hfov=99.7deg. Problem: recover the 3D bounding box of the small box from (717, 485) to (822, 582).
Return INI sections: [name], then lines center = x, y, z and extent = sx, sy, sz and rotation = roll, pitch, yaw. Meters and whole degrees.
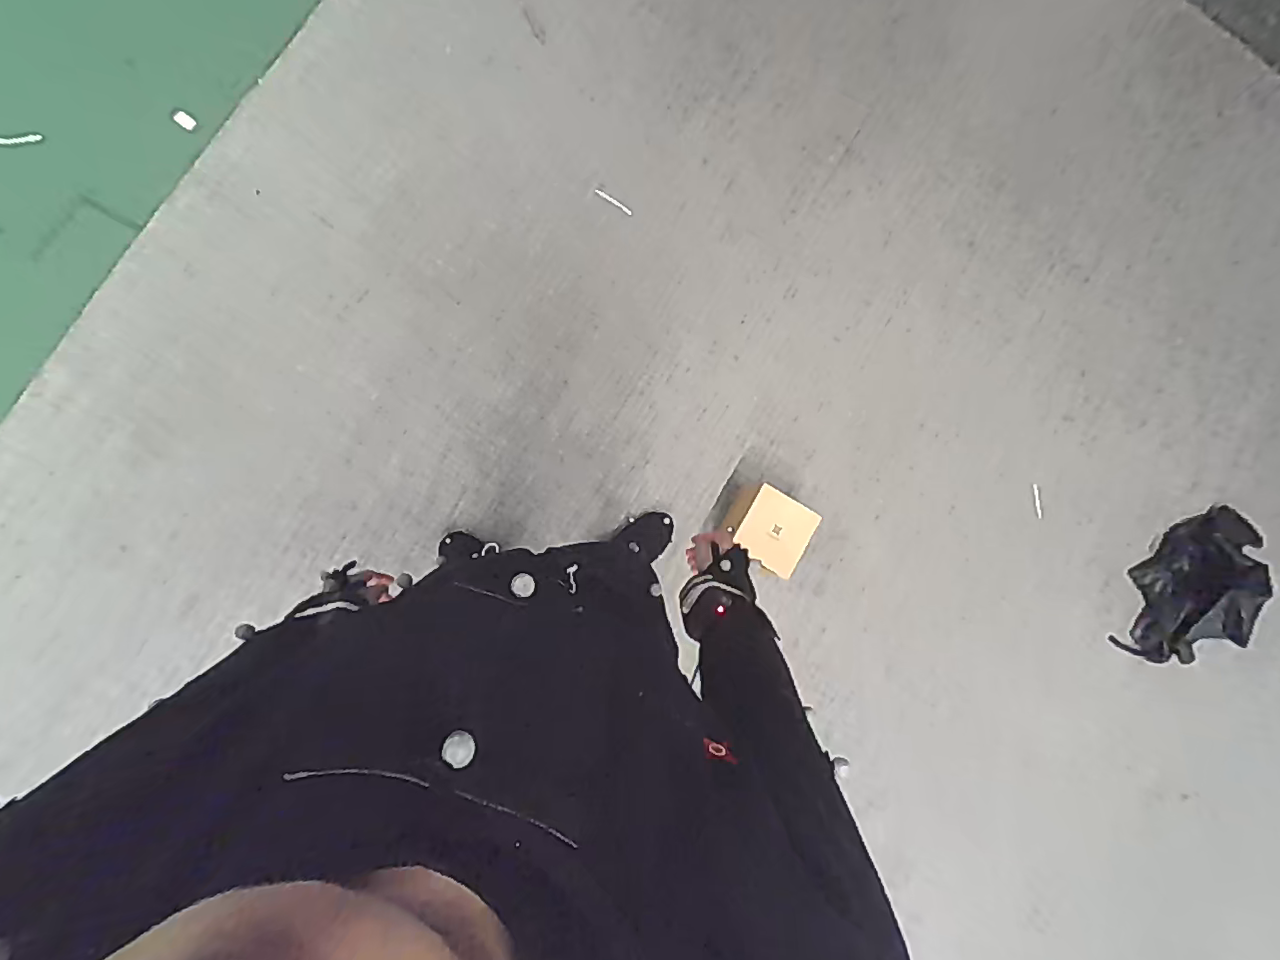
[small box]
center = 0.311, 0.125, 1.341
extent = 0.168, 0.176, 0.179
rotation = 30, 86, -5
